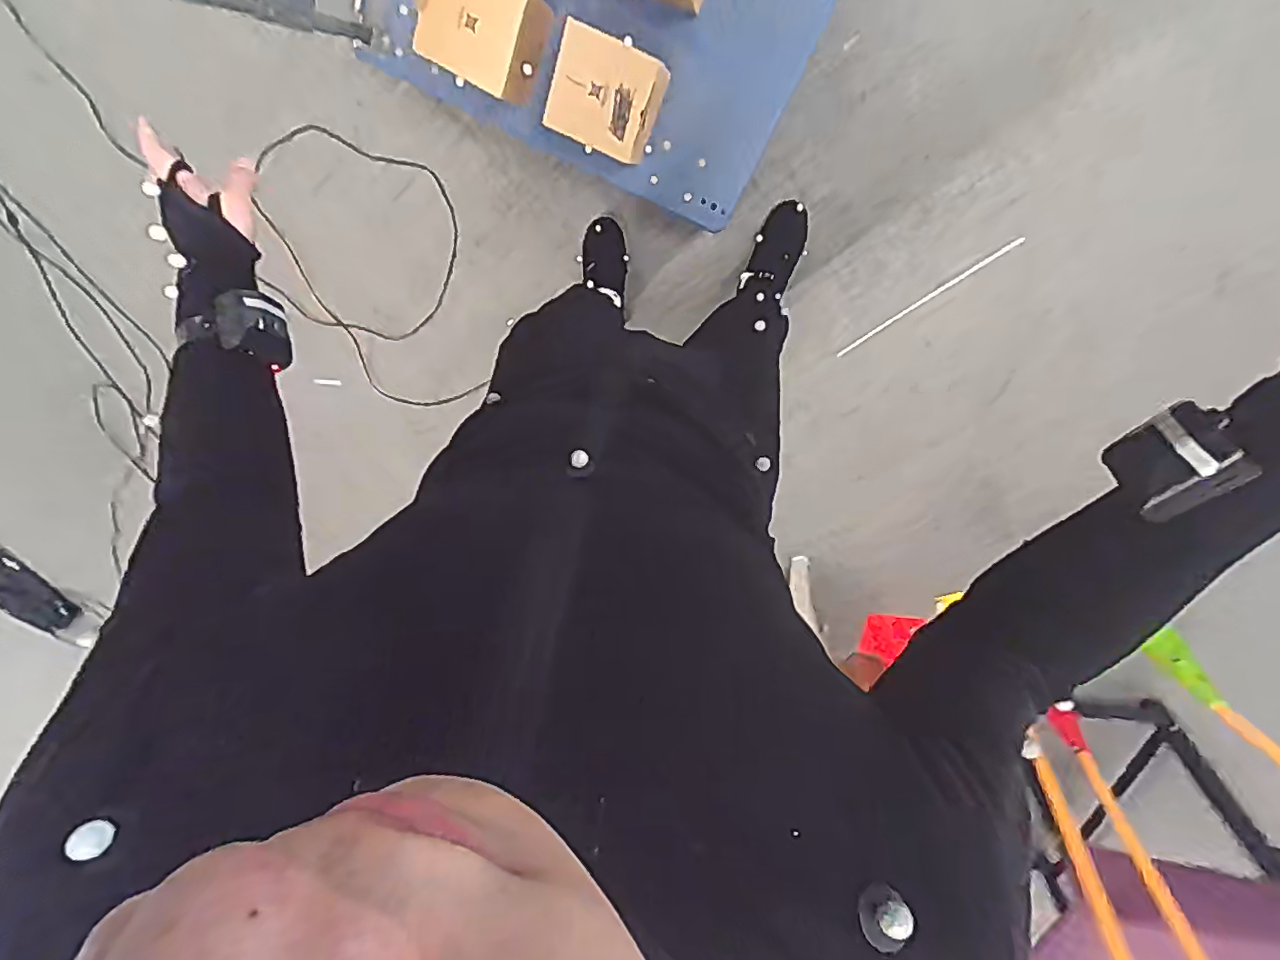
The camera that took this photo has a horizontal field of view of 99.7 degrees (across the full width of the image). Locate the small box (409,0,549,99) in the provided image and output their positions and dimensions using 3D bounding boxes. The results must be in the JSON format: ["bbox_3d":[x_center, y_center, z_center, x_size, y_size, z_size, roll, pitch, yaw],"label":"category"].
[{"bbox_3d":[-0.286,-0.828,0.989,0.179,0.176,0.168,25,122,-6],"label":"small box"}]

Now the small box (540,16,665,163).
[{"bbox_3d":[-0.063,-0.721,1.015,0.179,0.176,0.168,23,121,-4],"label":"small box"}]

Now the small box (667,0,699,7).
[{"bbox_3d":[0.036,-0.914,0.882,0.179,0.176,0.168,20,123,-4],"label":"small box"}]
